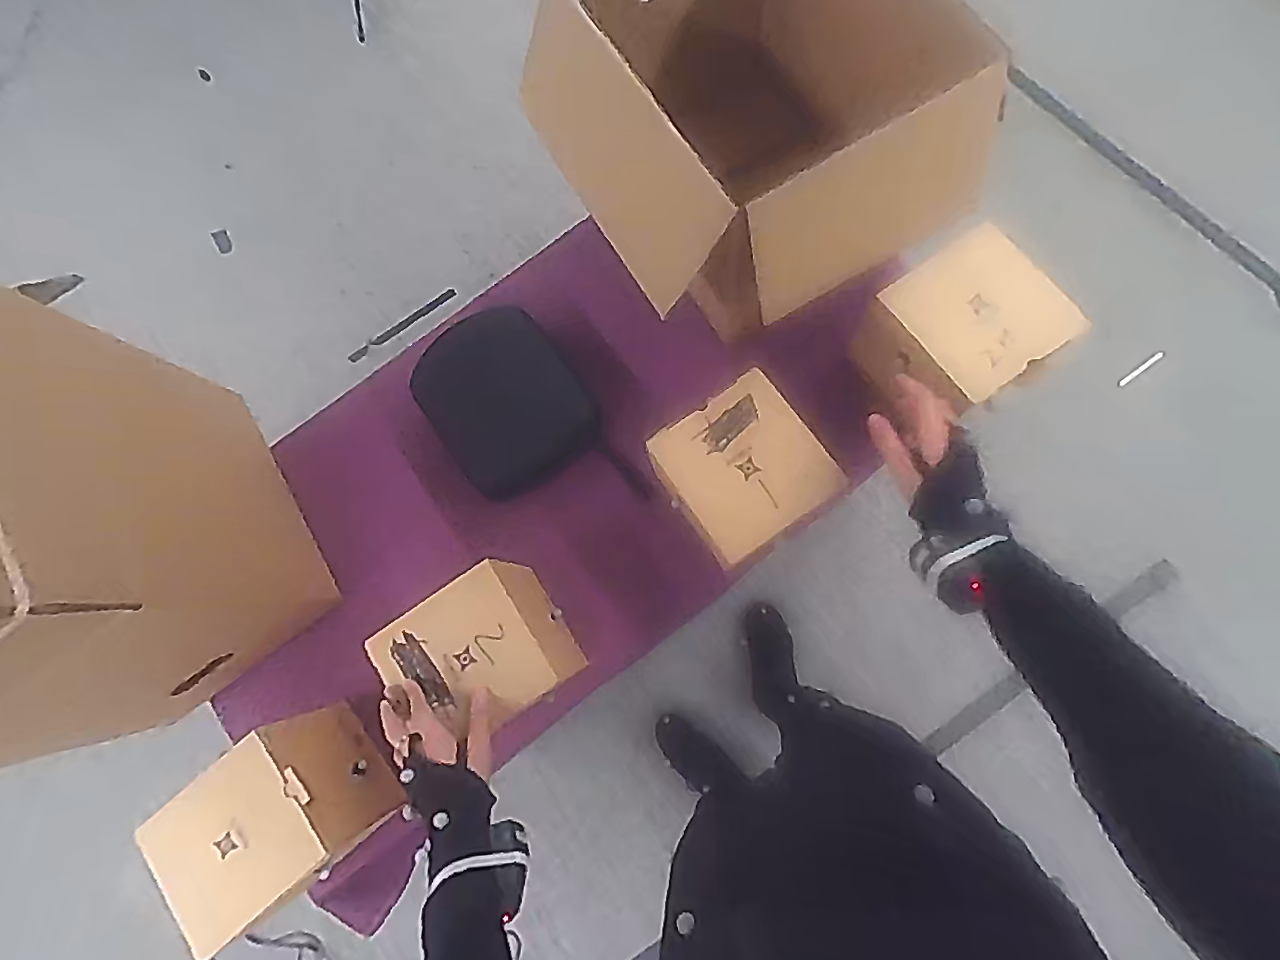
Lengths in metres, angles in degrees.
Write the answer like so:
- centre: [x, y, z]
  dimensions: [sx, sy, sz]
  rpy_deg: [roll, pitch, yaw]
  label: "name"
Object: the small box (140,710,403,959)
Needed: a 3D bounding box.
- centre: [-0.441, 0.421, 0.674]
  dimensions: [0.179, 0.176, 0.168]
  rpy_deg: [-41, 77, -5]
  label: "small box"
